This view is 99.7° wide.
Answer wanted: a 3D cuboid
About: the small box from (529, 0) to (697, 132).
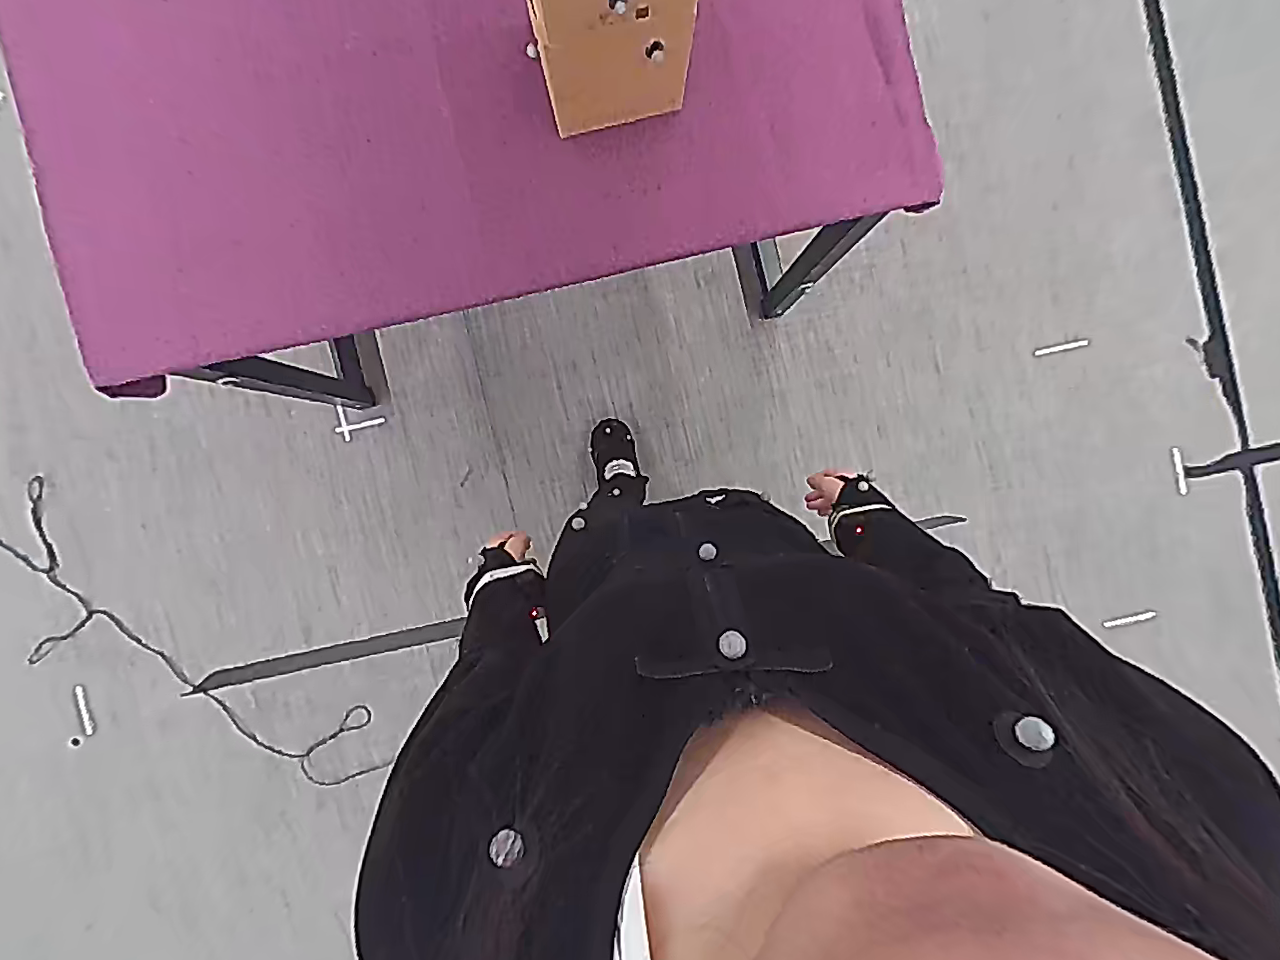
[{"bbox_3d":[-0.042,-0.571,0.663,0.179,0.176,0.168,-14,91,0],"label":"small box"}]
